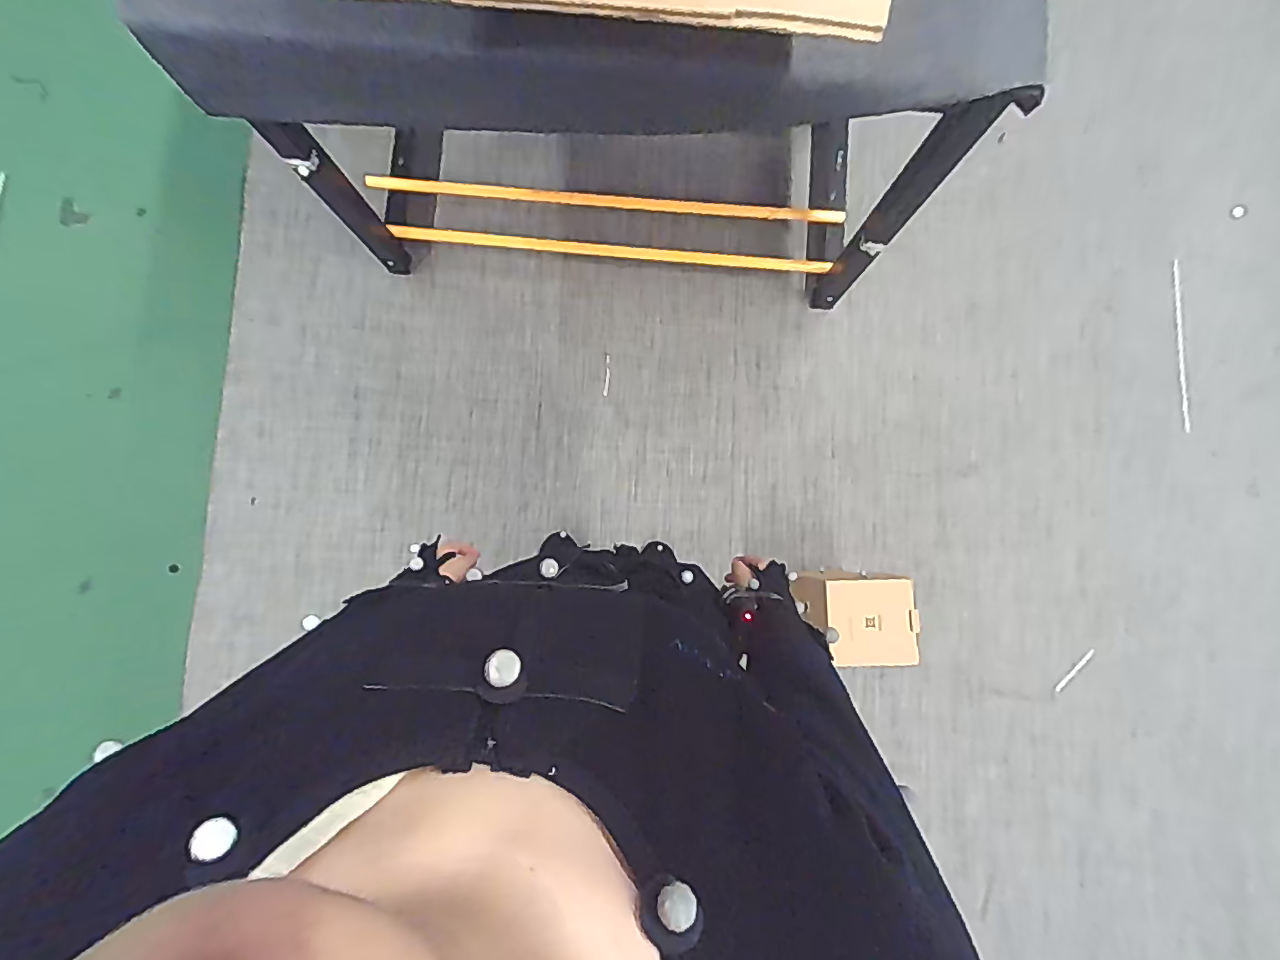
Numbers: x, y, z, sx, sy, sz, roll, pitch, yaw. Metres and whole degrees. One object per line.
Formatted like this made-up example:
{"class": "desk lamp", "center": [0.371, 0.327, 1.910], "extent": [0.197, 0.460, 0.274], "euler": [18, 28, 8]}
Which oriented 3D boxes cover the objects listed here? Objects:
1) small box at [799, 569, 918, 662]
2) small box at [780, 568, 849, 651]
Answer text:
{"class": "small box", "center": [0.447, 0.275, 1.125], "extent": [0.179, 0.176, 0.168], "euler": [-2, 84, 0]}
{"class": "small box", "center": [0.439, 0.301, 1.287], "extent": [0.168, 0.176, 0.179], "euler": [-2, 84, -1]}
